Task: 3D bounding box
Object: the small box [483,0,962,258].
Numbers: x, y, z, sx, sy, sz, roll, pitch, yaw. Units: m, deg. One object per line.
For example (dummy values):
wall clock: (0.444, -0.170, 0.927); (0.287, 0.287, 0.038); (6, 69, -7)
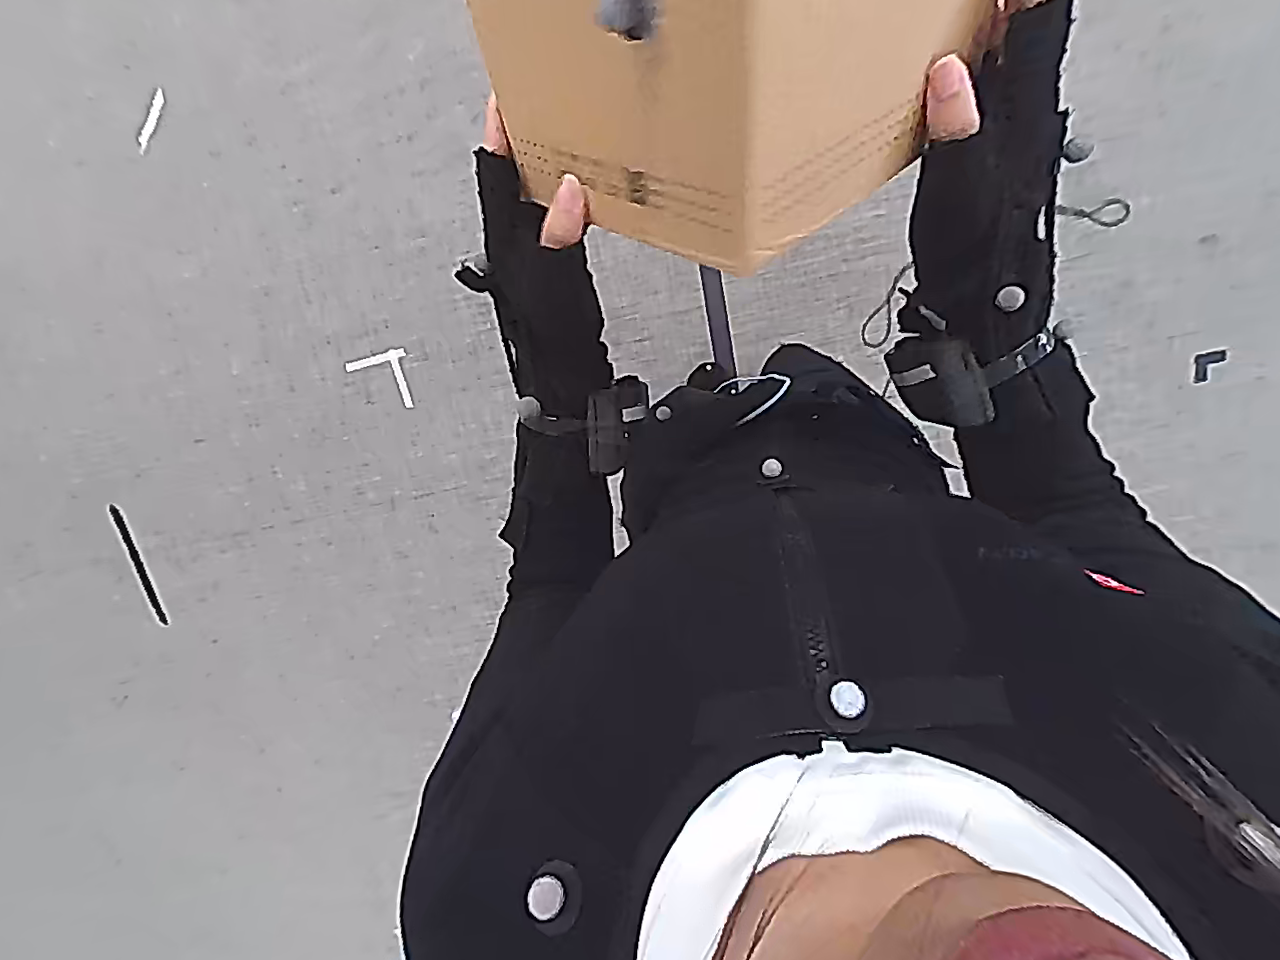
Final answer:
small box: (0.036, -0.231, 0.253); (0.179, 0.168, 0.176); (-36, 142, -19)
